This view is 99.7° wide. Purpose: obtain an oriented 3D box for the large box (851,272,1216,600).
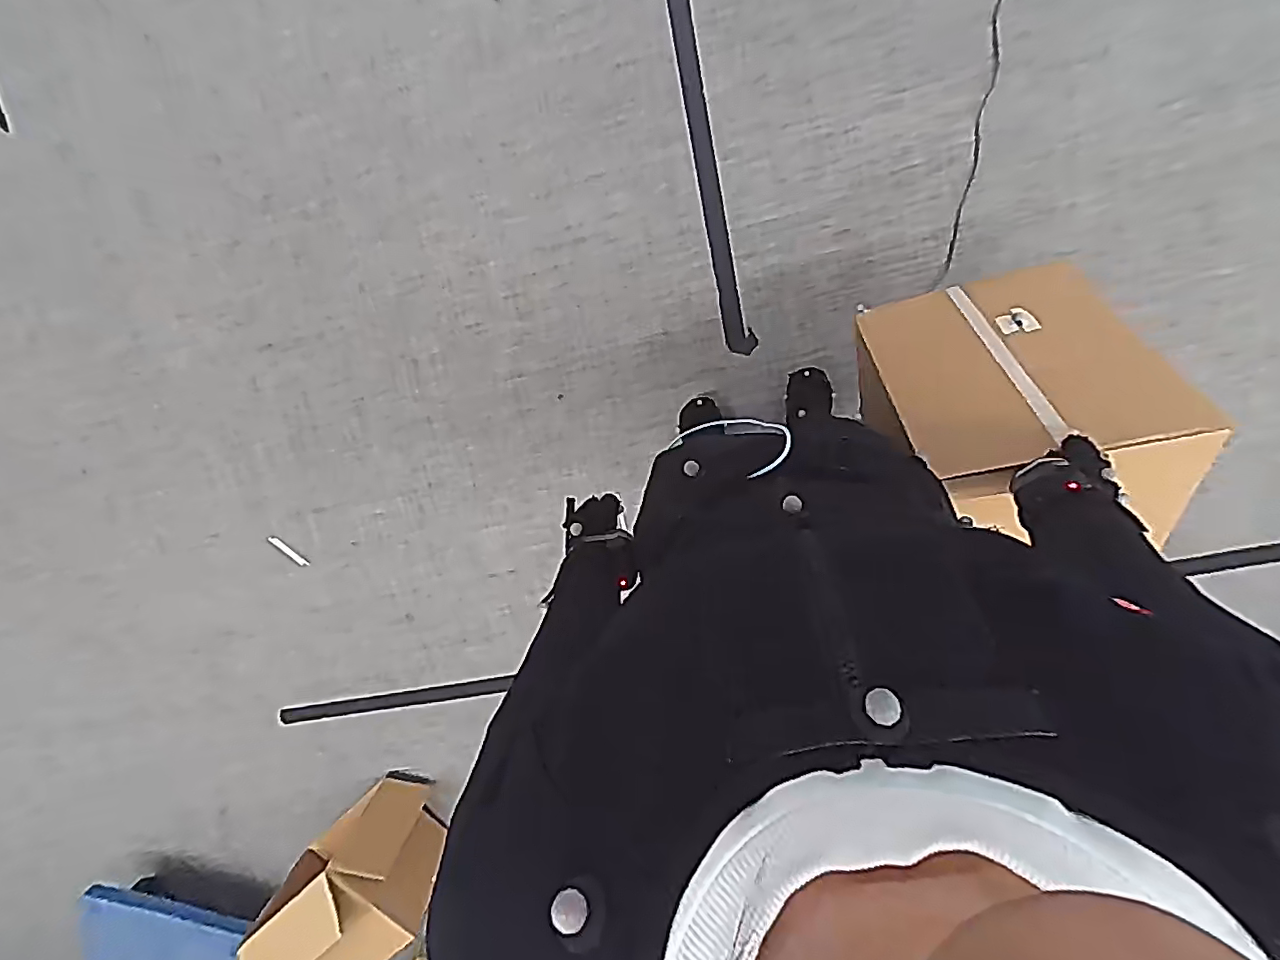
[{"bbox_3d":[0.564,-0.071,0.886,0.320,0.408,0.320,-12,134,13],"label":"large box"}]
